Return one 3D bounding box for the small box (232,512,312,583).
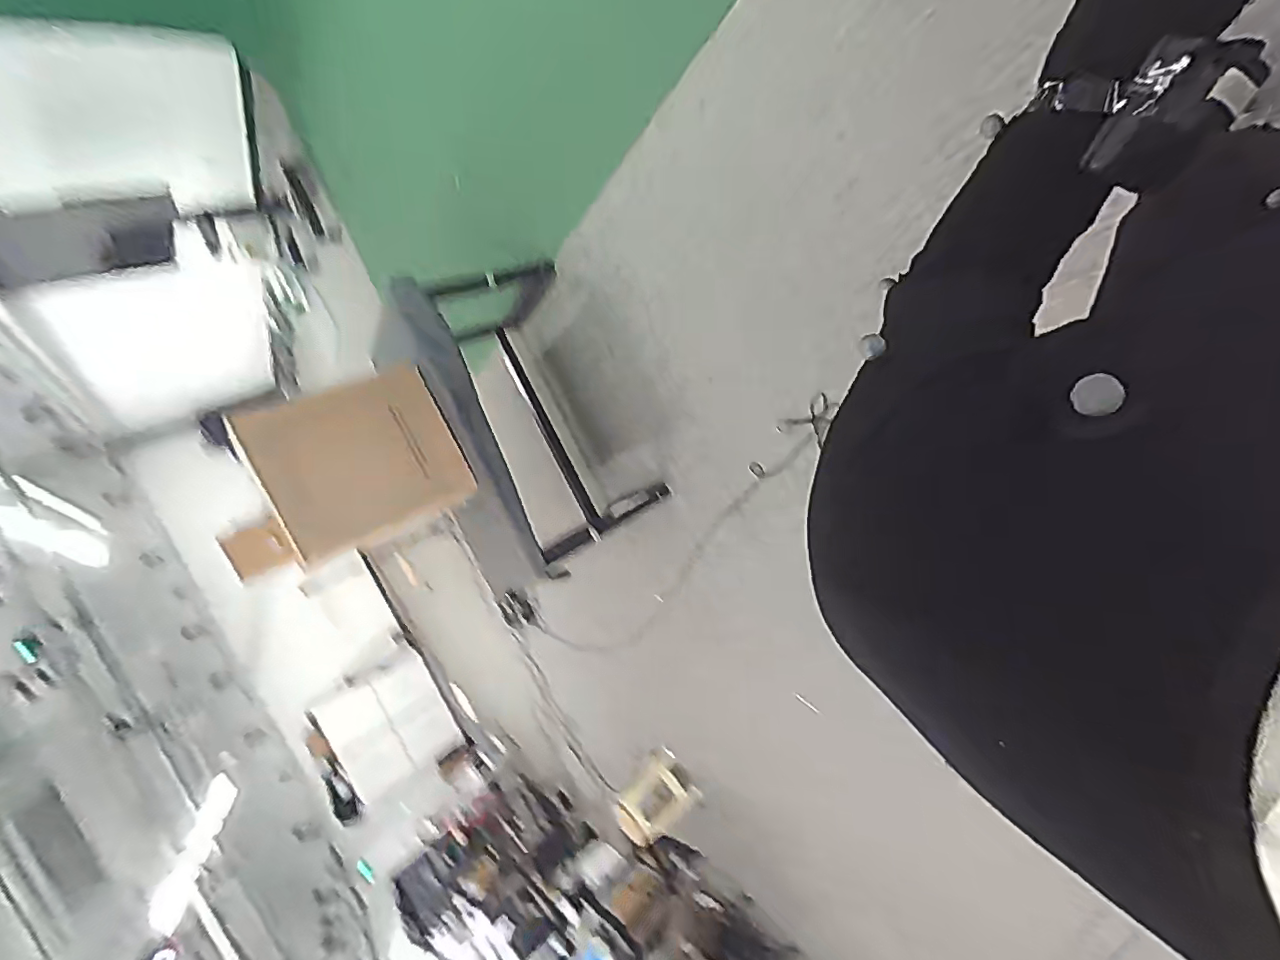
[{"bbox_3d":[-1.226,0.225,1.808,0.179,0.176,0.168,-26,94,53],"label":"small box"}]
